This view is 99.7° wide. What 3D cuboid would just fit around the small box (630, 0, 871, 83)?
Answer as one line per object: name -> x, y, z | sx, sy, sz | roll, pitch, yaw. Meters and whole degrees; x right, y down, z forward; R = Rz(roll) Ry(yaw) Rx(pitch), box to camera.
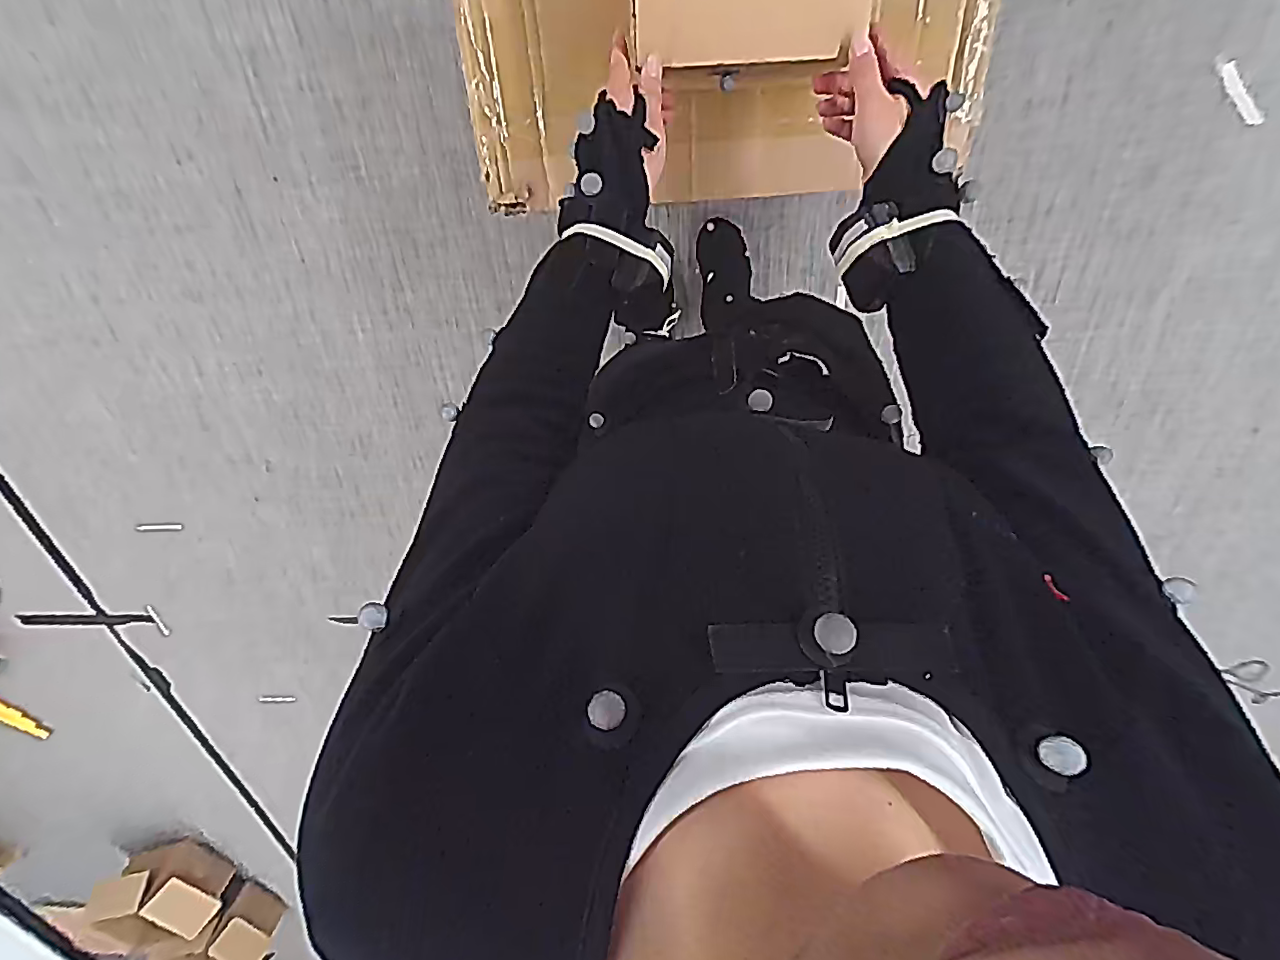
small box -> 0.083, -0.433, 0.436 | 0.179, 0.176, 0.168 | -1, 121, 4
